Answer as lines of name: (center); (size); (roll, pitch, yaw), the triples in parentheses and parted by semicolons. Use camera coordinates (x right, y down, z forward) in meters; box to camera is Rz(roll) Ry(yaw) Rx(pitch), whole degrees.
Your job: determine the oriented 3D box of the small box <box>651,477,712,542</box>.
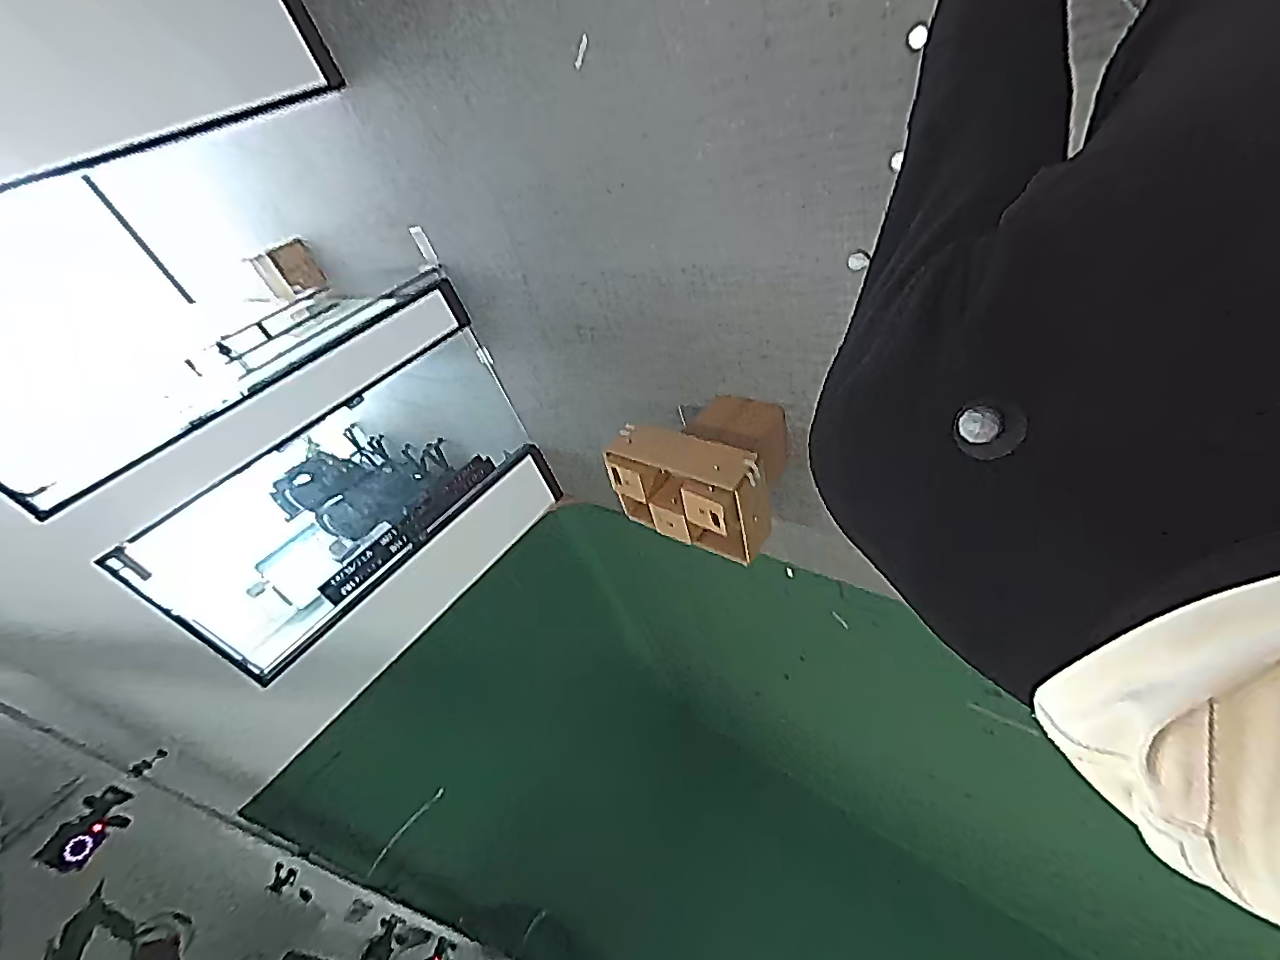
small box: (0.173, 0.112, 2.147); (0.179, 0.176, 0.168); (19, 141, 35)
